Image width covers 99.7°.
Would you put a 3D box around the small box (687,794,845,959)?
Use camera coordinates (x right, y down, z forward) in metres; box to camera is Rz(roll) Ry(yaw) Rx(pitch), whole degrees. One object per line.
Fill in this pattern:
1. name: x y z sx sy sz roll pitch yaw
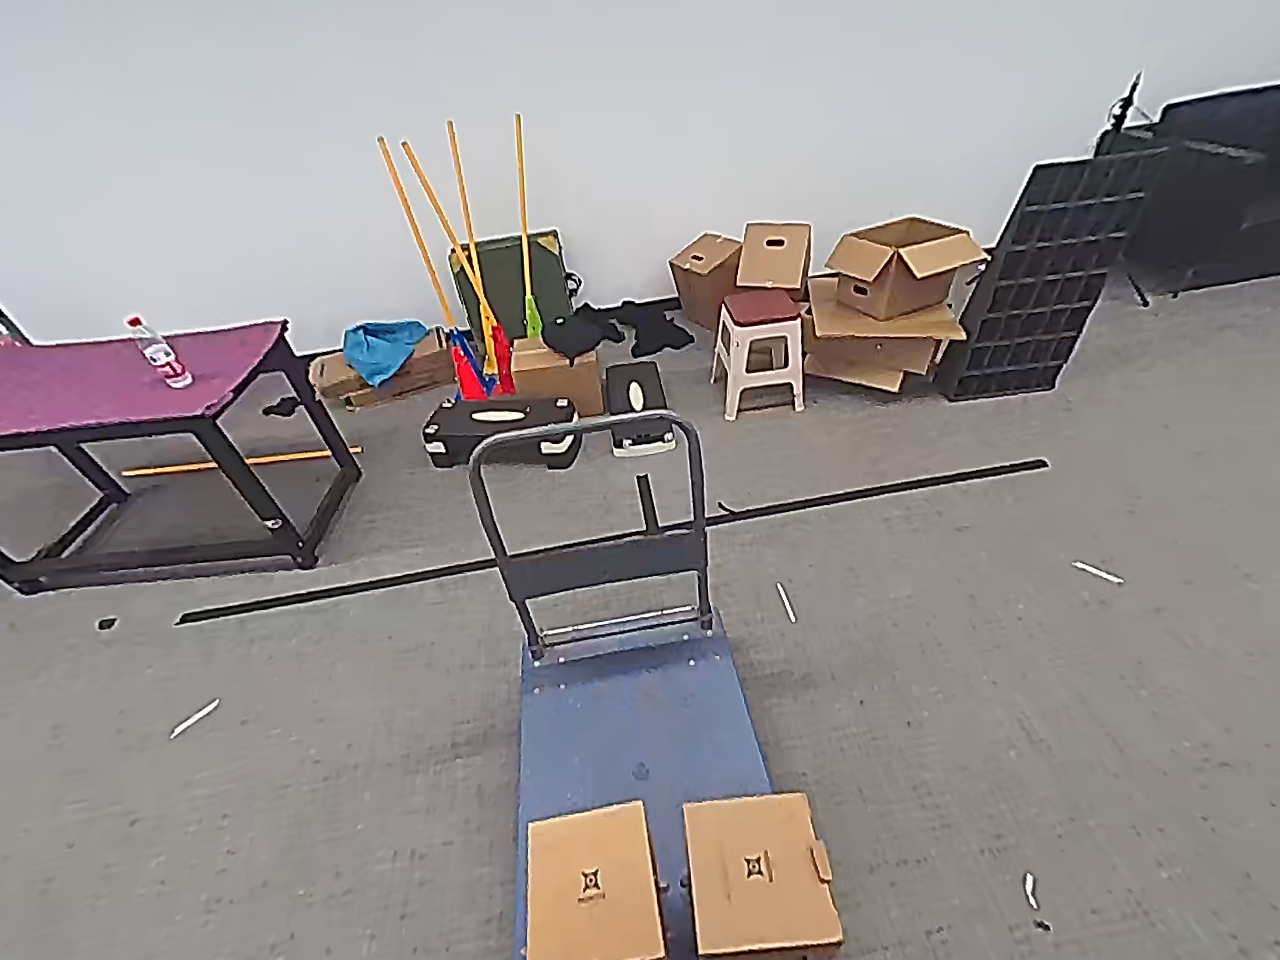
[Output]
1. small box: 0.161 0.561 0.752 0.179 0.176 0.168 -6 40 2

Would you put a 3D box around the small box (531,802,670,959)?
1. small box: -0.054 0.586 0.753 0.168 0.176 0.179 -10 41 -3
